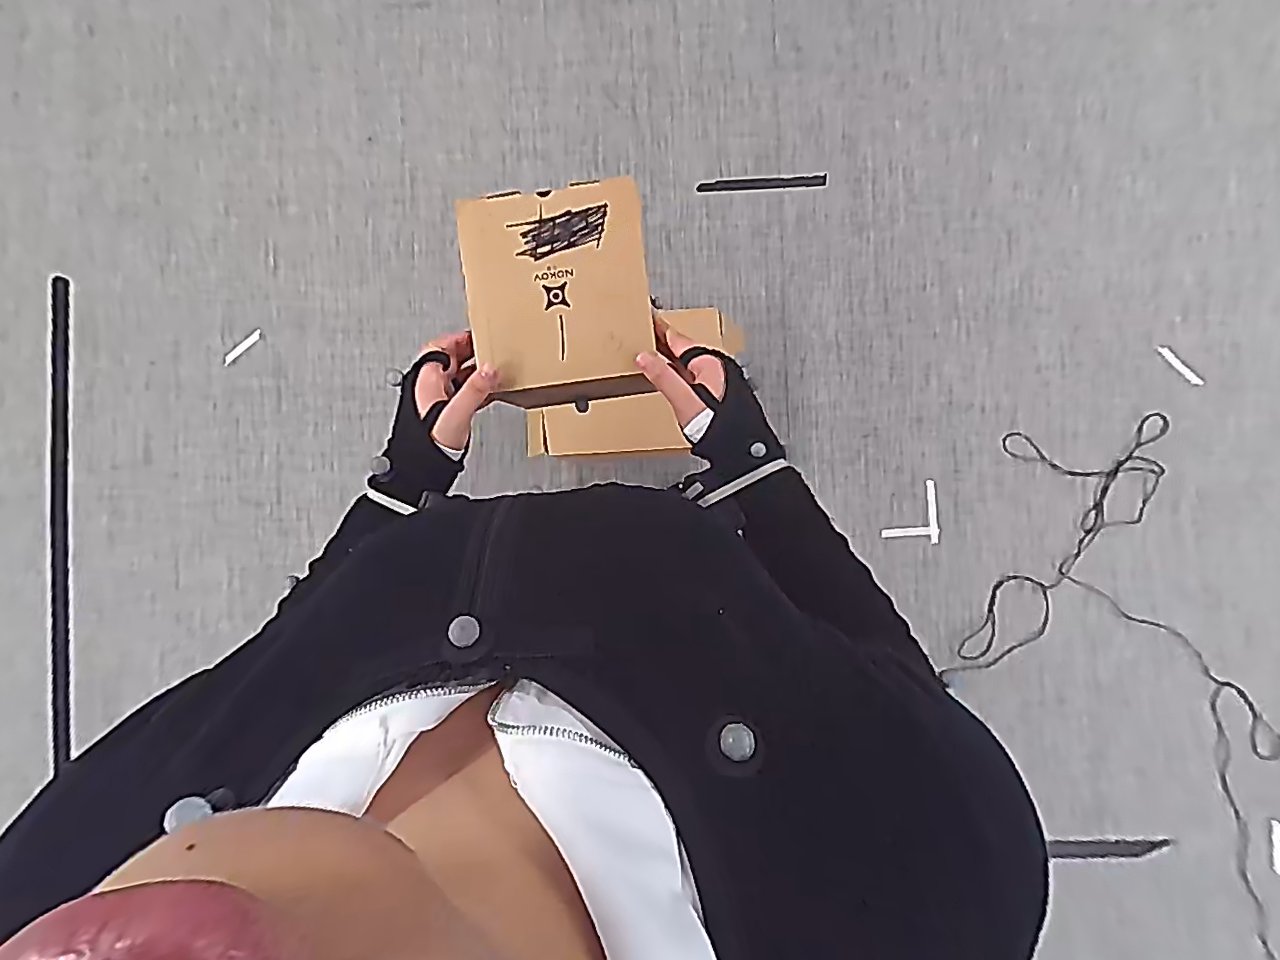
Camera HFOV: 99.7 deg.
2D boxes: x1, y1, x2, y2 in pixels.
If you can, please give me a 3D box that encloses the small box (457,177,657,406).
[{"bbox_3d":[-0.074,-0.180,0.567,0.168,0.176,0.179,-7,93,2],"label":"small box"}]
